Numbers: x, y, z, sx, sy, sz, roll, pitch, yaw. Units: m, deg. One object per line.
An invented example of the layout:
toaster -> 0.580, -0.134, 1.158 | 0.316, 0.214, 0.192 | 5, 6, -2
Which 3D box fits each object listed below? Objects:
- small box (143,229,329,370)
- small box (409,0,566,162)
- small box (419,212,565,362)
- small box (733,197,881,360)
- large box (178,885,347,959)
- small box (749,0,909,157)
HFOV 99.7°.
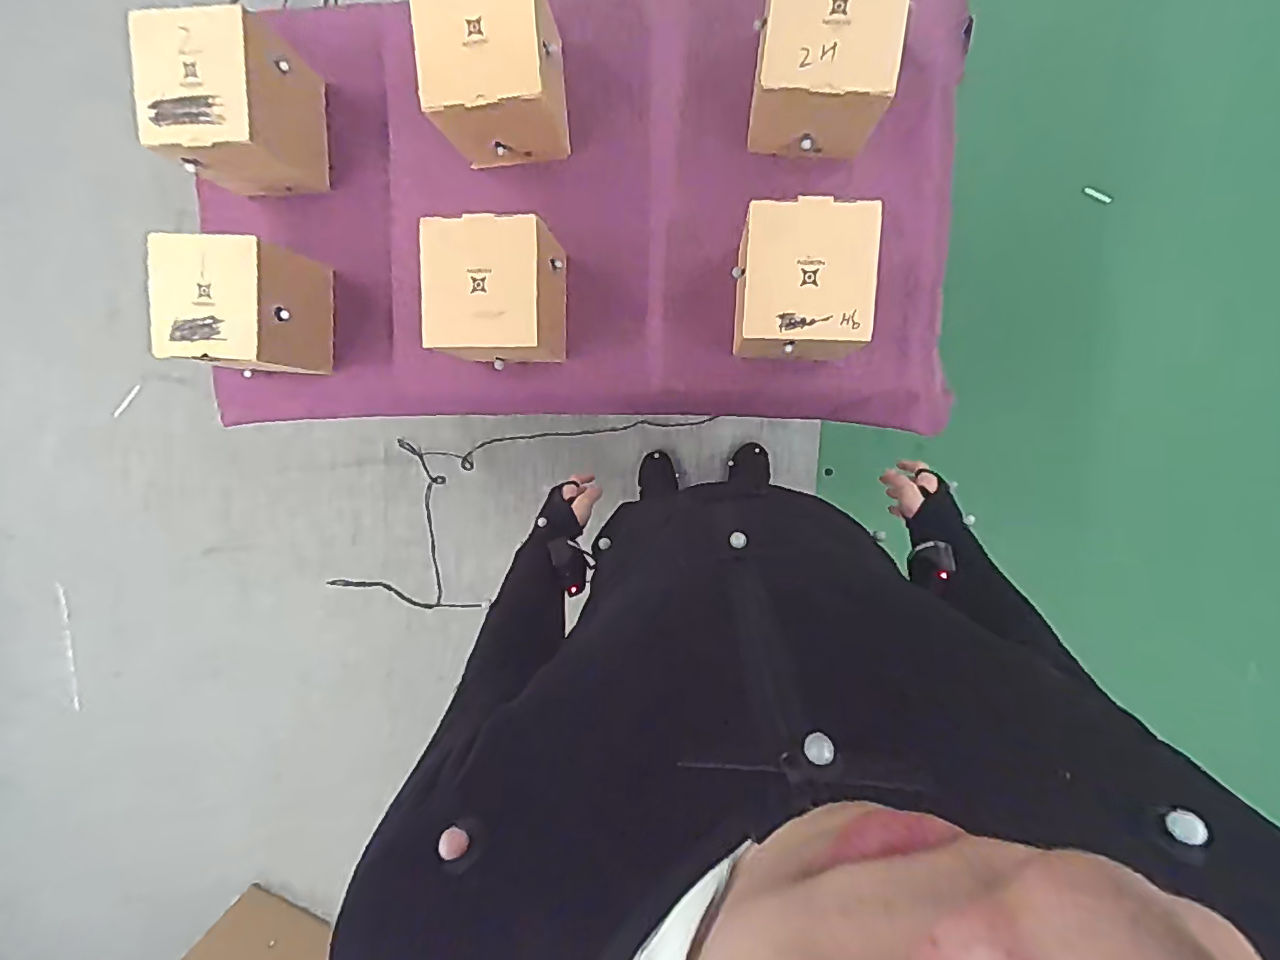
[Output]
small box -> -0.609, -0.267, 0.836 | 0.168, 0.176, 0.179 | 4, 95, 4
small box -> -0.206, -0.587, 0.769 | 0.168, 0.176, 0.179 | -4, 98, 5
small box -> -0.211, -0.277, 0.805 | 0.168, 0.176, 0.179 | 2, 96, 5
small box -> 0.224, -0.275, 0.767 | 0.168, 0.176, 0.179 | 3, 95, 5
large box -> -1.289, 1.669, 1.798 | 0.408, 0.320, 0.320 | 25, 99, 0
small box -> 0.245, -0.573, 0.730 | 0.168, 0.176, 0.179 | 7, 98, 5
